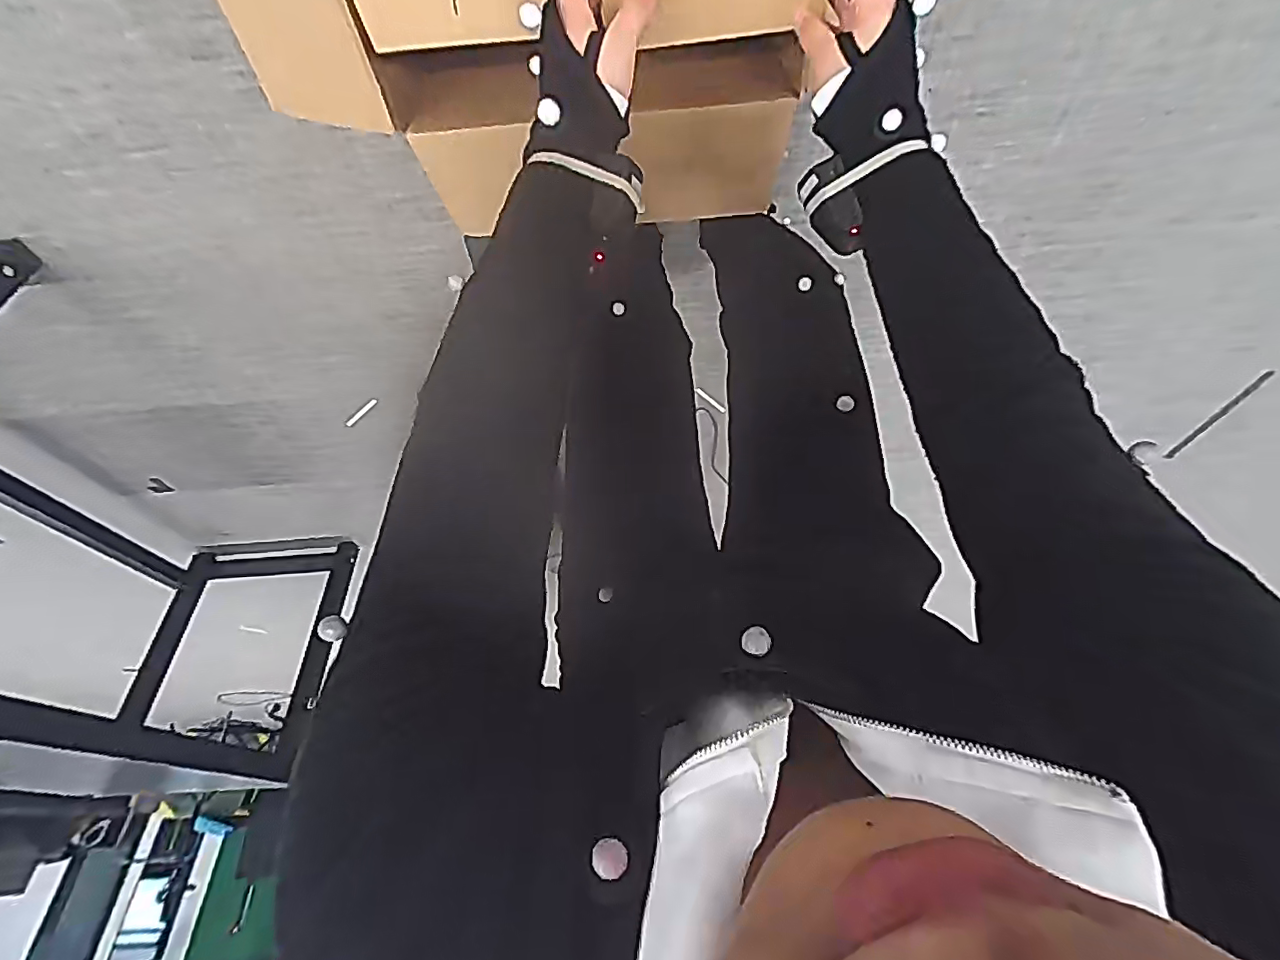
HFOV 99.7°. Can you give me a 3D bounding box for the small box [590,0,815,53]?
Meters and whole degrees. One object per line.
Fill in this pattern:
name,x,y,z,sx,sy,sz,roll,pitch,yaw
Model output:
small box,0.044,-0.464,0.403,0.179,0.176,0.168,-1,154,6
